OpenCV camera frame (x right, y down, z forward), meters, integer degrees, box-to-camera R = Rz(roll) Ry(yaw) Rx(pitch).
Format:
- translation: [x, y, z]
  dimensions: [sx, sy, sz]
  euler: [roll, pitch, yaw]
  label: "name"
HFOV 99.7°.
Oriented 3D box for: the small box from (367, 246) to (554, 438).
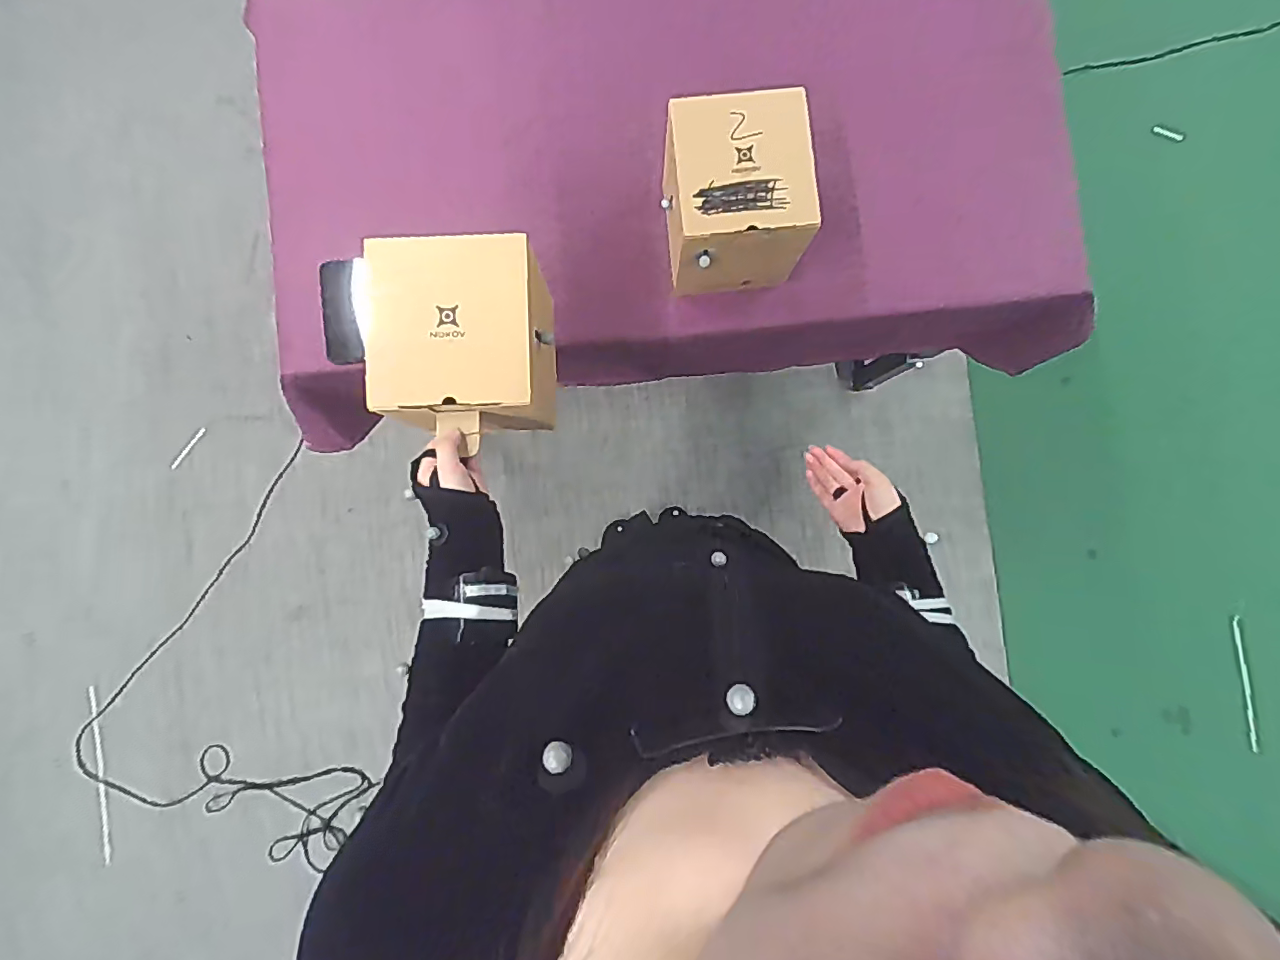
- translation: [-0.195, -0.148, 0.629]
  dimensions: [0.168, 0.176, 0.179]
  euler: [-2, 88, 0]
  label: "small box"
